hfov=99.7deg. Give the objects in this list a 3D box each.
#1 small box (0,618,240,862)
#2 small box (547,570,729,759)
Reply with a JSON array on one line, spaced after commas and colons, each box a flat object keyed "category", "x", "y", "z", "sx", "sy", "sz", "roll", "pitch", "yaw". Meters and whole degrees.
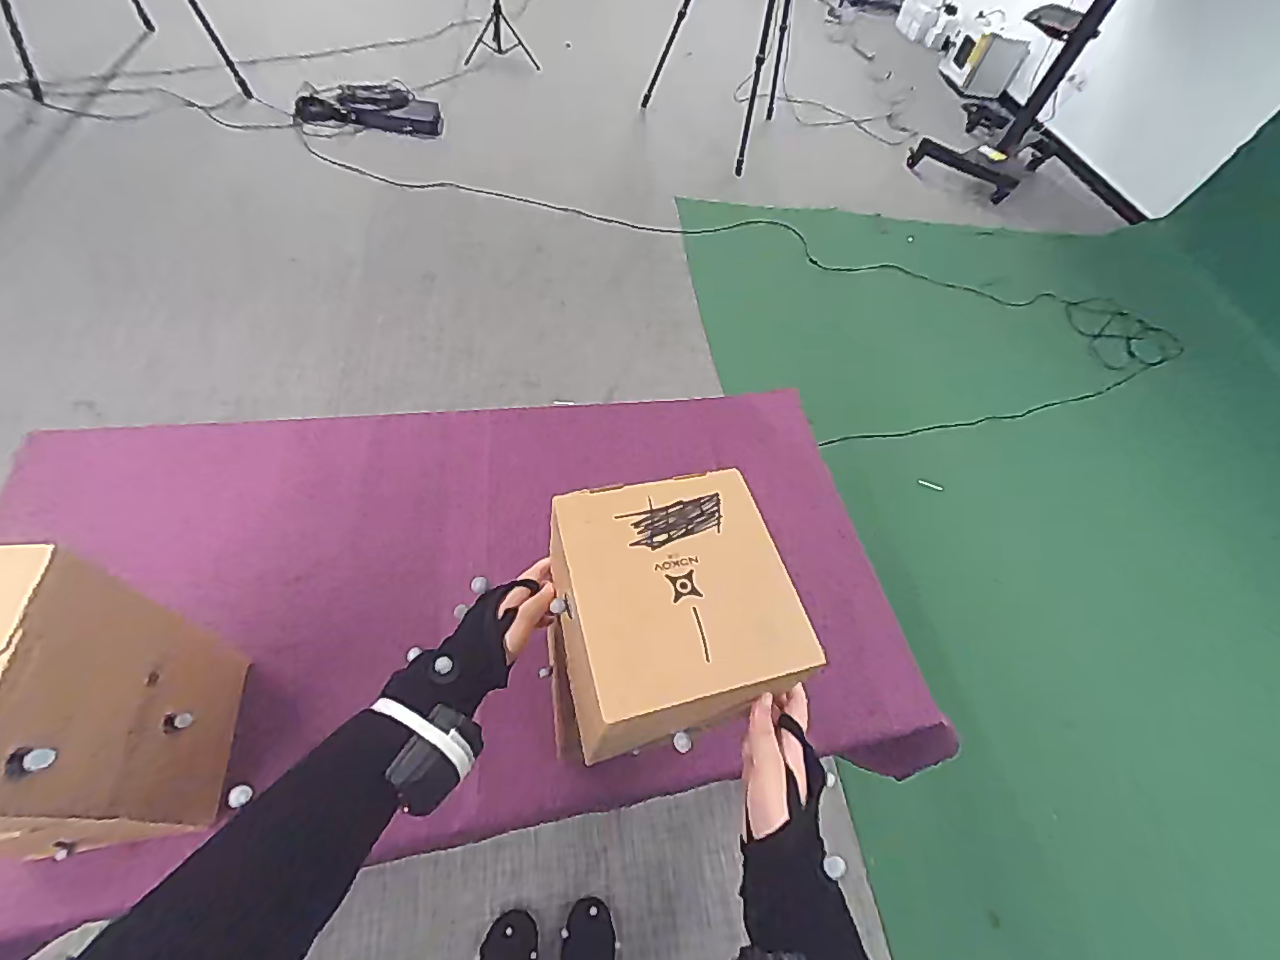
[{"category": "small box", "x": -0.524, "y": 0.253, "z": 0.523, "sx": 0.168, "sy": 0.176, "sz": 0.179, "roll": -4, "pitch": 58, "yaw": -14}, {"category": "small box", "x": -0.017, "y": 0.221, "z": 0.641, "sx": 0.179, "sy": 0.176, "sz": 0.168, "roll": -3, "pitch": 58, "yaw": -13}]
